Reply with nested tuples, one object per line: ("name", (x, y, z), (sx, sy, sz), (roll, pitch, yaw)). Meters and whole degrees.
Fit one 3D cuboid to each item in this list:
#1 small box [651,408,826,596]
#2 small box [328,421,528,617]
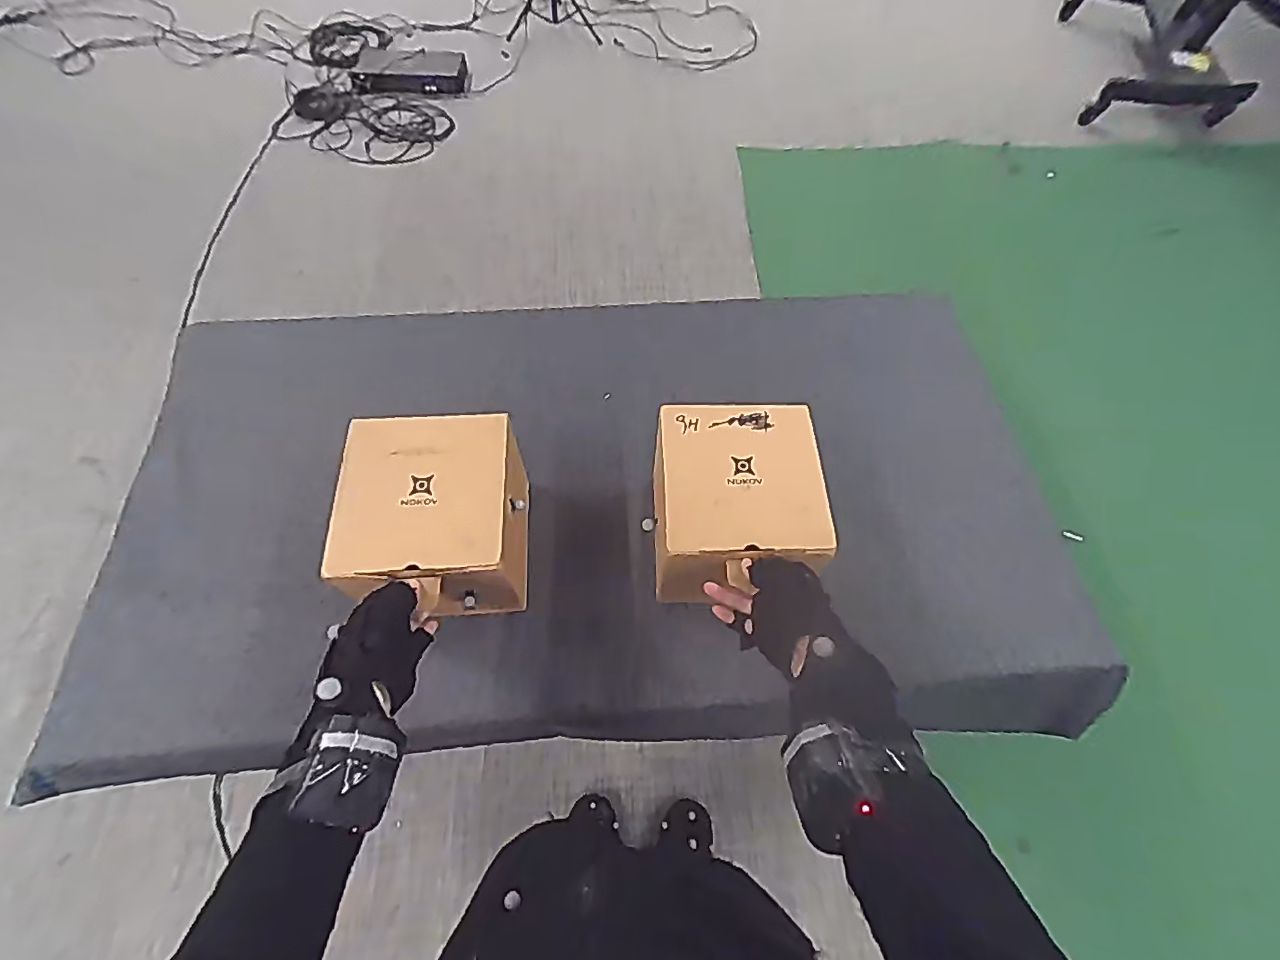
("small box", (0.100, 0.034, 0.633), (0.168, 0.176, 0.179), (-1, 63, -2))
("small box", (-0.223, 0.054, 0.621), (0.168, 0.176, 0.179), (-4, 62, -4))
